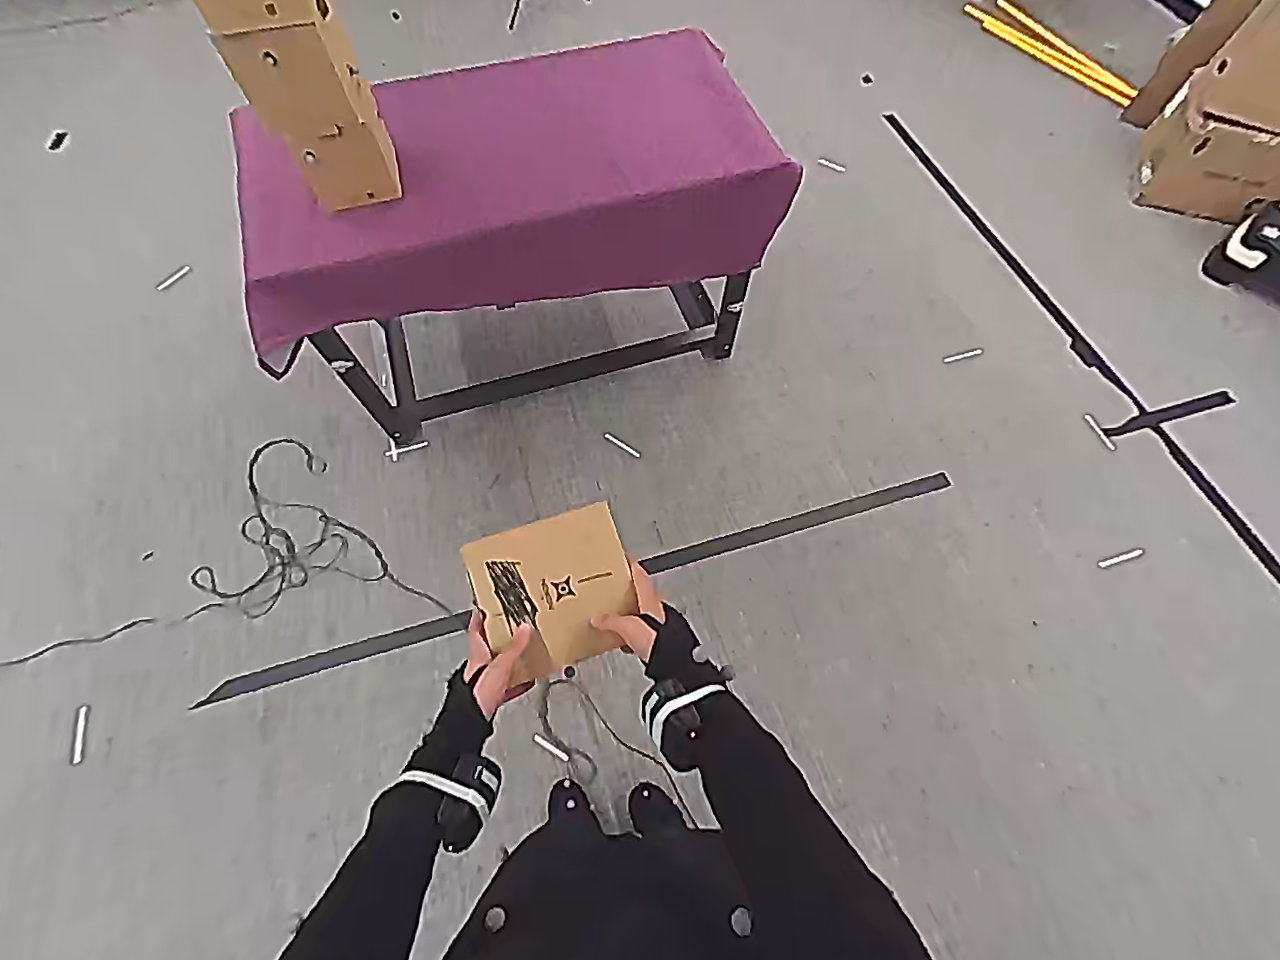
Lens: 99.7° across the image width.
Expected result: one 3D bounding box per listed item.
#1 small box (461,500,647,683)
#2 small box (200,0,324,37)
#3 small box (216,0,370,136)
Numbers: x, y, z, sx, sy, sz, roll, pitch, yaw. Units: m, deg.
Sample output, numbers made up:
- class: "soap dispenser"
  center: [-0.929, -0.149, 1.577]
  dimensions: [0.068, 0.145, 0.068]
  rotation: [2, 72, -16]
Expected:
- class: "small box"
  center: [-0.106, 0.143, 0.684]
  dimensions: [0.179, 0.176, 0.168]
  rotation: [-17, 77, -12]
- class: "small box"
  center: [-0.630, -0.842, 0.861]
  dimensions: [0.168, 0.176, 0.179]
  rotation: [-15, 64, -8]
- class: "small box"
  center: [-0.633, -0.774, 1.009]
  dimensions: [0.179, 0.176, 0.168]
  rotation: [-9, 65, -5]
